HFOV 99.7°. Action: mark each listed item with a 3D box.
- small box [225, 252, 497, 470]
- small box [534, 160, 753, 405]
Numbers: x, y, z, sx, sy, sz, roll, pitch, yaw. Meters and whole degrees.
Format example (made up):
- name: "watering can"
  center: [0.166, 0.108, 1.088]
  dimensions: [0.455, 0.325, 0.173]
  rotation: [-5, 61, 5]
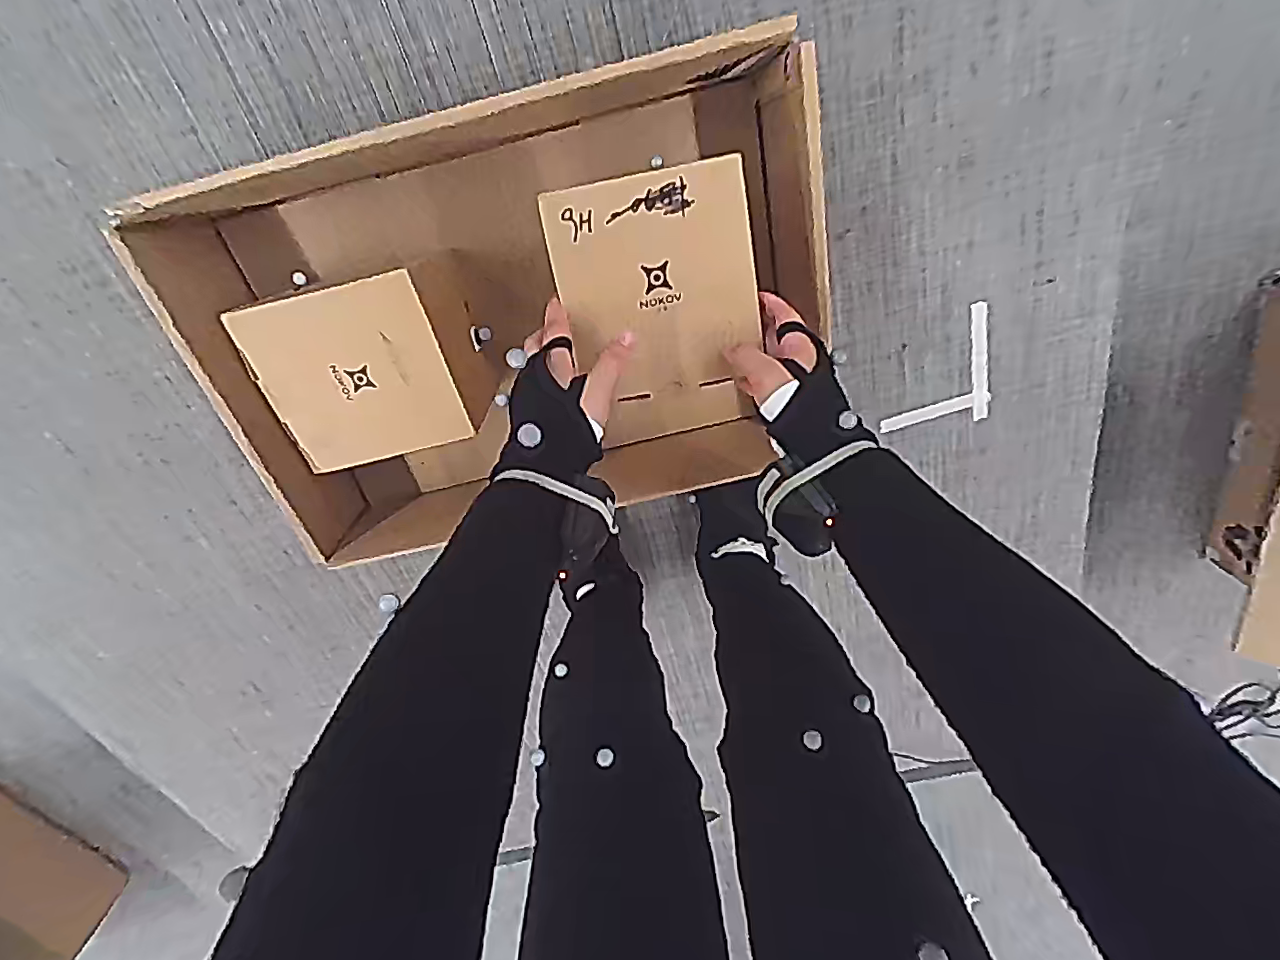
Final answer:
- name: "small box"
  center: [-0.273, -0.134, 0.581]
  dimensions: [0.179, 0.176, 0.168]
  rotation: [-13, 119, 2]
- name: "small box"
  center: [0.007, -0.188, 0.534]
  dimensions: [0.168, 0.176, 0.179]
  rotation: [-11, 109, 2]
